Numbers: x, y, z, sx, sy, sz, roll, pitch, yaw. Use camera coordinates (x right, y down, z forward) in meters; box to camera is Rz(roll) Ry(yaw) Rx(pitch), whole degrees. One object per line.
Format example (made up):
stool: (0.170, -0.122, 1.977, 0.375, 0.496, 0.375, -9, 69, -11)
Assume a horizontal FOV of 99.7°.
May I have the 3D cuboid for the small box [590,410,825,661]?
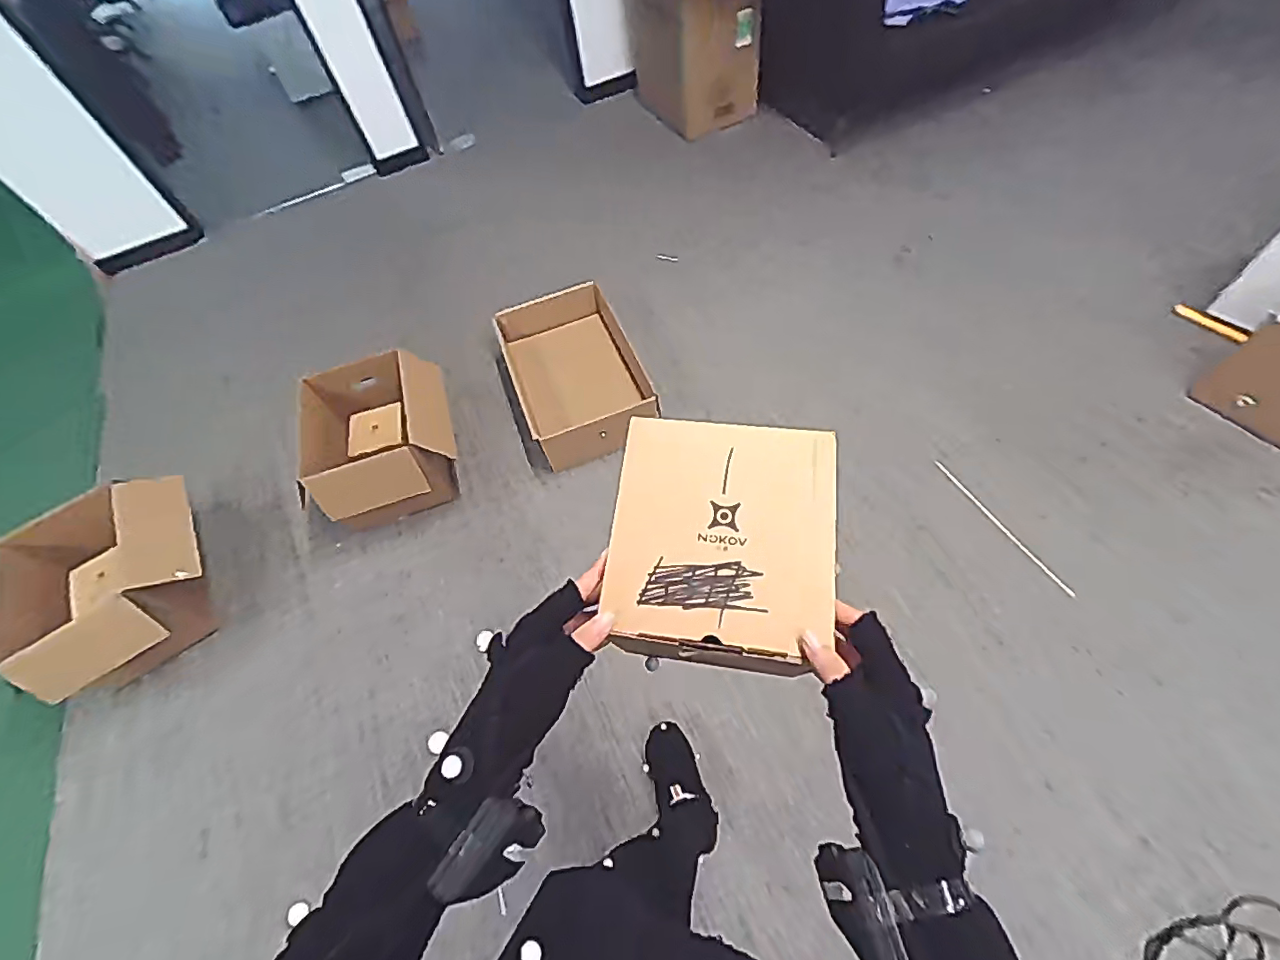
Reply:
small box: (0.063, 0.058, 0.484, 0.168, 0.176, 0.179, 6, 67, 8)
